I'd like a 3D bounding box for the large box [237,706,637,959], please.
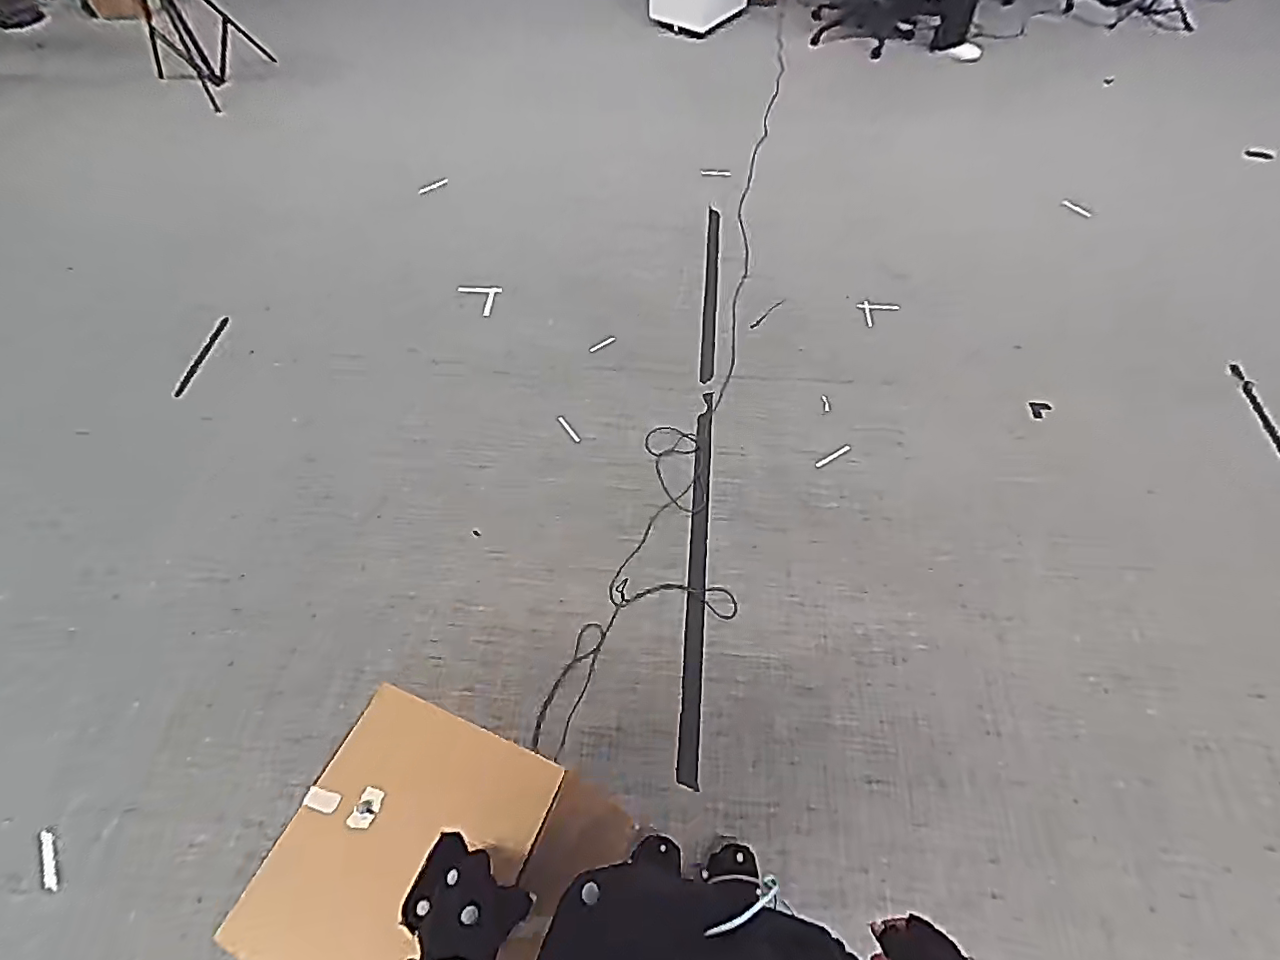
[{"bbox_3d":[-0.236,0.576,0.782,0.320,0.408,0.320,13,56,23],"label":"large box"}]
